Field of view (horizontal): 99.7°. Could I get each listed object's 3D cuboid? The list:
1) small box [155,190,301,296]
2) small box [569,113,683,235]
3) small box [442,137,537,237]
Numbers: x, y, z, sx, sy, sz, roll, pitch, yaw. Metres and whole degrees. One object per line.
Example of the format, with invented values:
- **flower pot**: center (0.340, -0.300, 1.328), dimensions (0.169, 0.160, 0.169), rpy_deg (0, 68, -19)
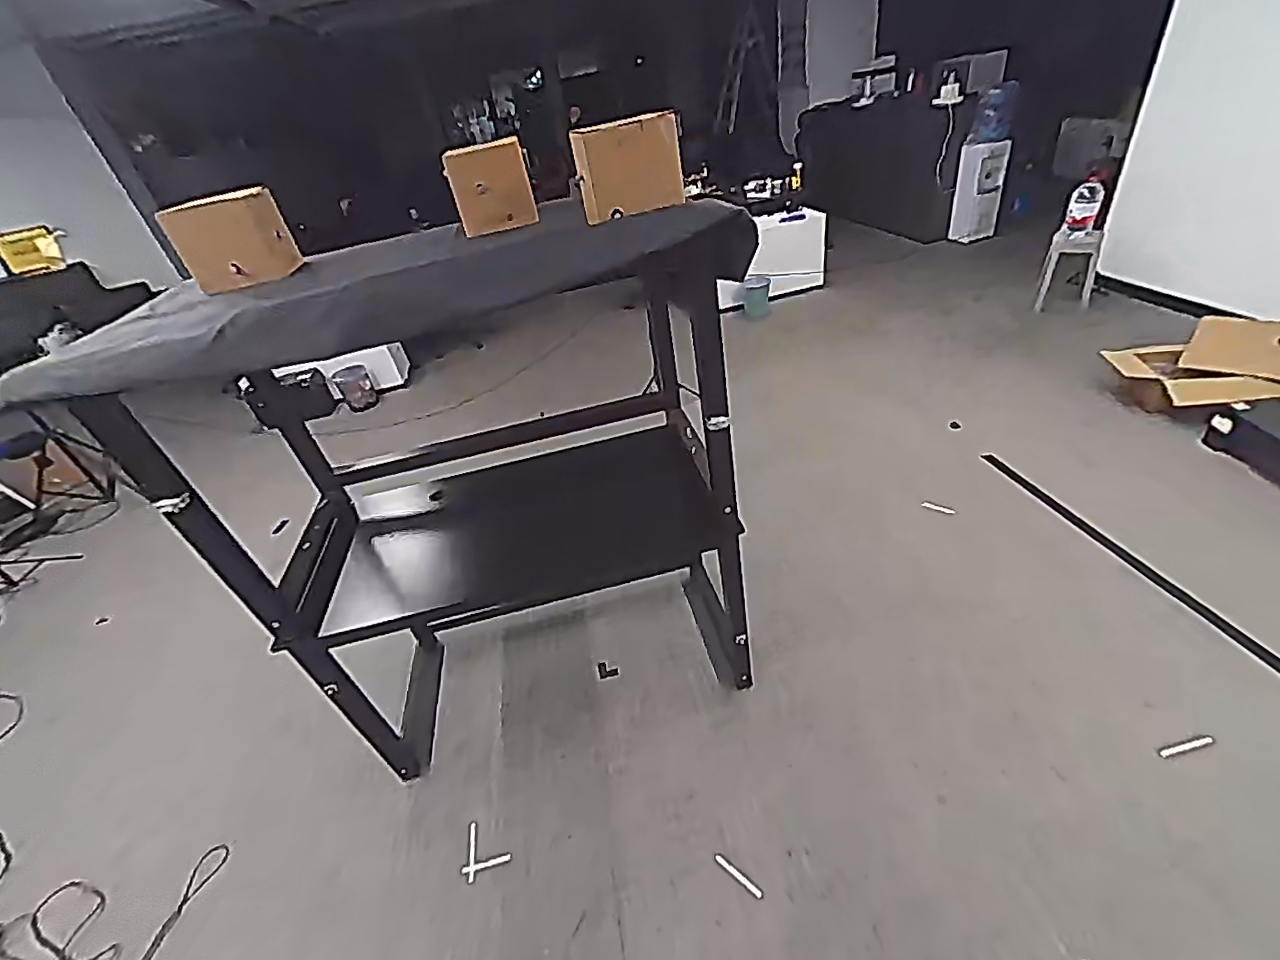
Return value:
- **small box**: center (-0.898, -0.528, 1.204), dimensions (0.179, 0.176, 0.168), rpy_deg (-15, 36, -6)
- **small box**: center (-0.026, -0.577, 1.025), dimensions (0.168, 0.176, 0.179), rpy_deg (-16, 35, -6)
- **small box**: center (-0.342, -0.675, 1.252), dimensions (0.168, 0.176, 0.179), rpy_deg (-15, 36, -4)
